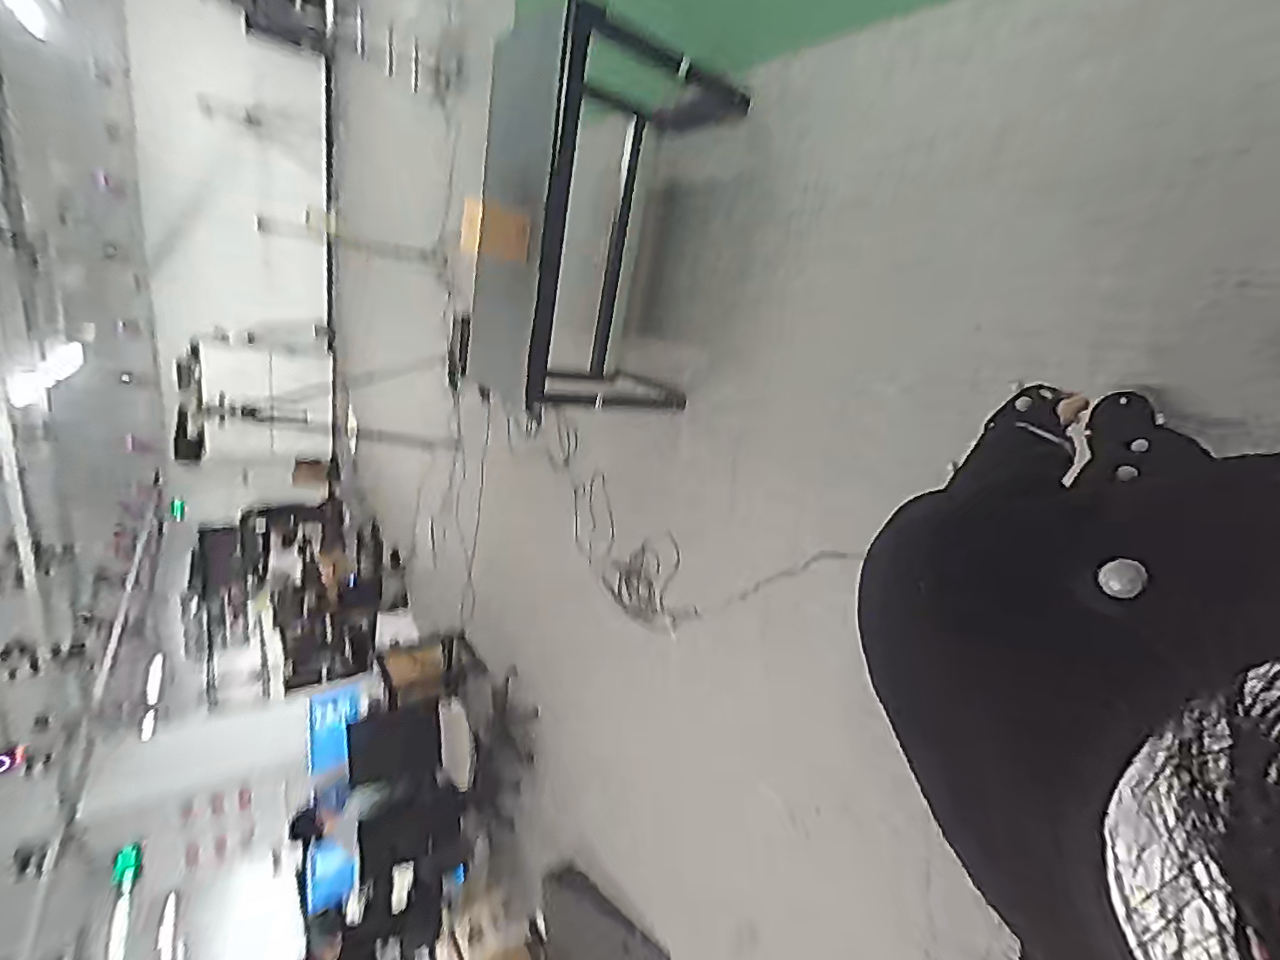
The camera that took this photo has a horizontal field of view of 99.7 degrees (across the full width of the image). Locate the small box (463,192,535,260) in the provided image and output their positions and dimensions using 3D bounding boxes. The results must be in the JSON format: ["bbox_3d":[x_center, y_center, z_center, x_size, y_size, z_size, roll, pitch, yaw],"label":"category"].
[{"bbox_3d":[-0.467,-0.835,1.782,0.179,0.176,0.168,38,122,46],"label":"small box"}]
